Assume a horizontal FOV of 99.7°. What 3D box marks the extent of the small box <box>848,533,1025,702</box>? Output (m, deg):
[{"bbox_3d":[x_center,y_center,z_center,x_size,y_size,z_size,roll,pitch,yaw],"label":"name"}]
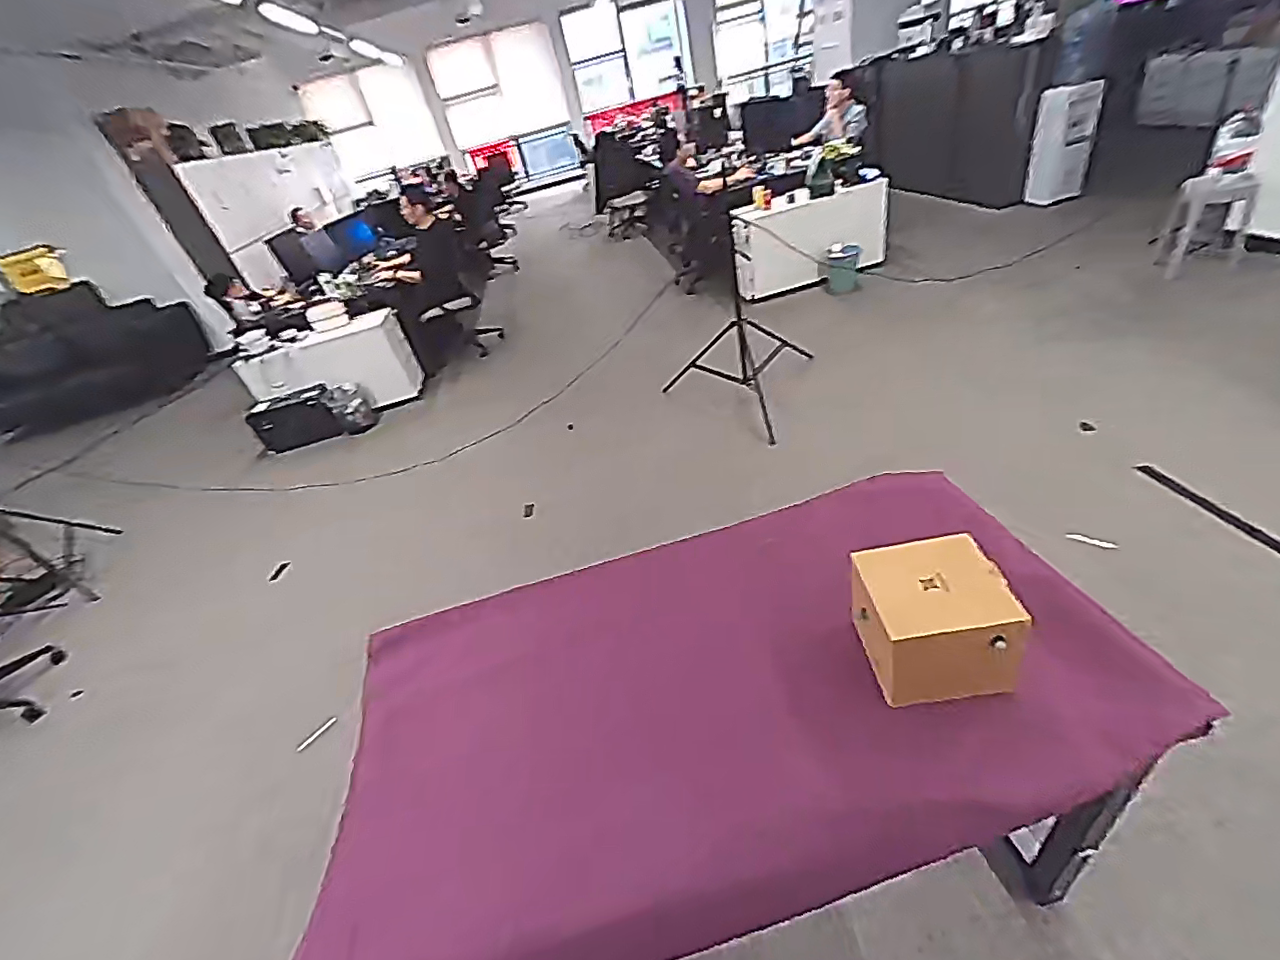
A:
[{"bbox_3d":[0.427,0.209,0.806,0.179,0.176,0.168,-12,36,7],"label":"small box"}]
